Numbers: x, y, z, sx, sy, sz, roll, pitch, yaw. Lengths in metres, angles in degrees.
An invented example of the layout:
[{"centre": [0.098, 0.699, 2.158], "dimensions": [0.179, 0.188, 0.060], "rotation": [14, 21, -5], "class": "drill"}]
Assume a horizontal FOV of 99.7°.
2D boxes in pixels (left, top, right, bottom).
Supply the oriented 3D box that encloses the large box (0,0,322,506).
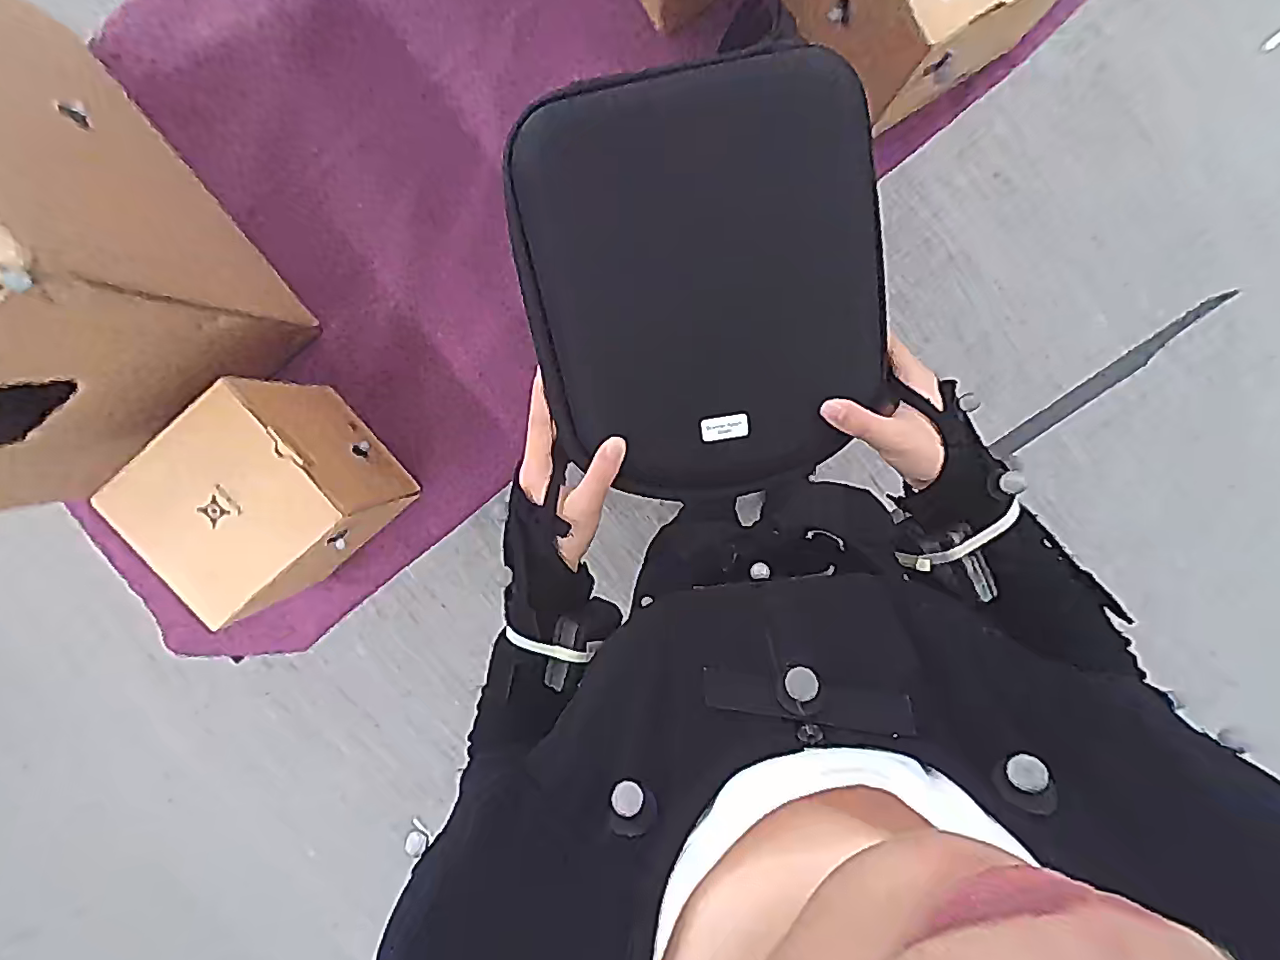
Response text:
[{"centre": [-0.615, -0.221, 0.490], "dimensions": [0.320, 0.320, 0.408], "rotation": [-38, 98, 7], "class": "large box"}]
